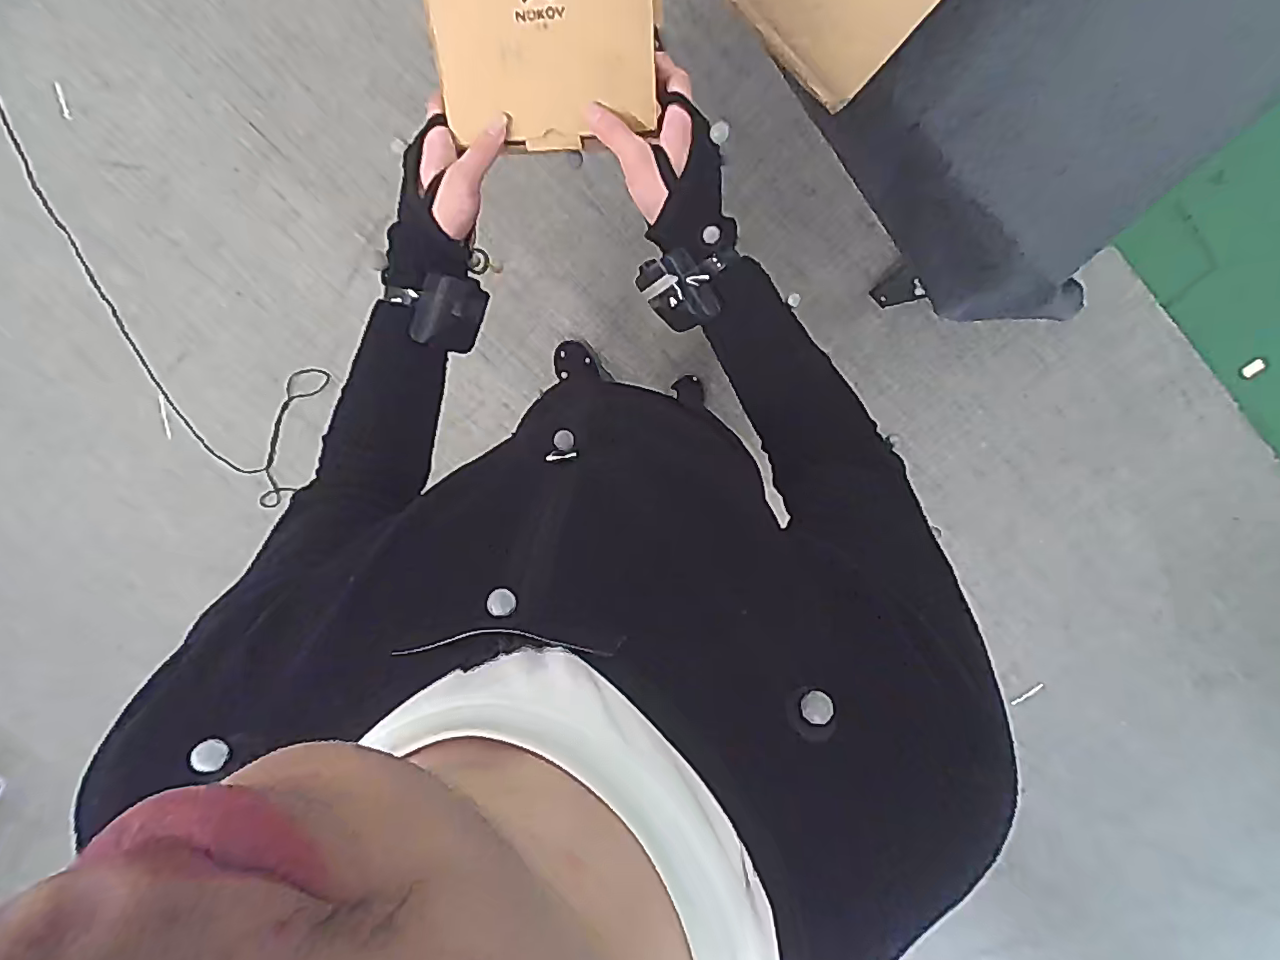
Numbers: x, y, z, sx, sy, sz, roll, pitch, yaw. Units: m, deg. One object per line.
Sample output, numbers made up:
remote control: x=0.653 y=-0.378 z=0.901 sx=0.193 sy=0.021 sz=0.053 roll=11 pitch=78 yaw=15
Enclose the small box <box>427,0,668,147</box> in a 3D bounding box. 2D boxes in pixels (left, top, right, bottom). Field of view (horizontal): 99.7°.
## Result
small box: x=-0.066 y=-0.388 z=0.454 sx=0.168 sy=0.176 sz=0.179 roll=-2 pitch=119 yaw=7
